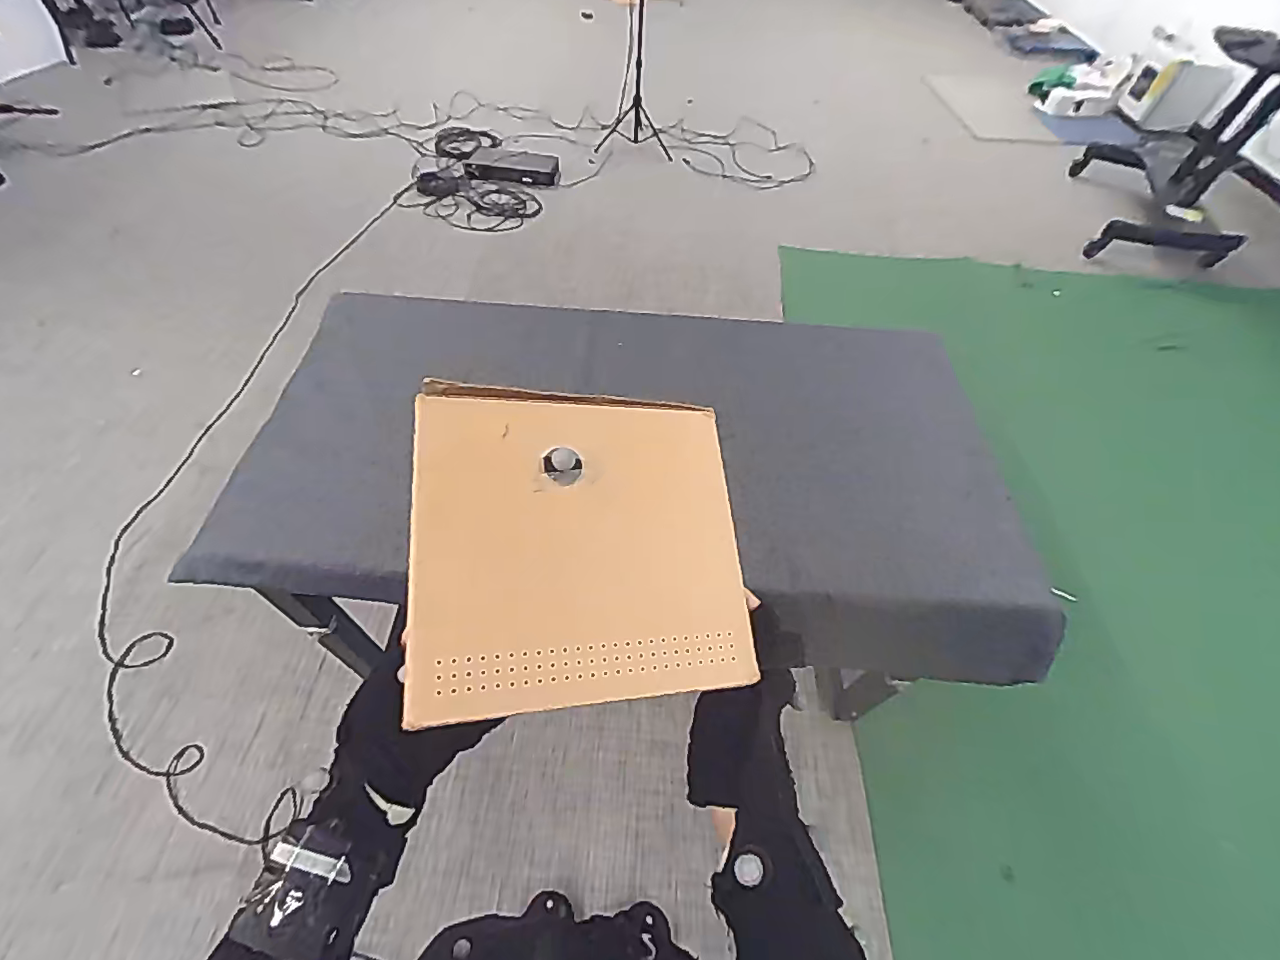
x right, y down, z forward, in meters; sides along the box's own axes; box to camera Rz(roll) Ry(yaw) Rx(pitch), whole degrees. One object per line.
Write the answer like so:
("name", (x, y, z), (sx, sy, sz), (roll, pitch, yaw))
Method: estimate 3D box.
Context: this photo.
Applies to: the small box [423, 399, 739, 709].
("small box", (-0.052, 0.060, 0.375), (0.179, 0.168, 0.176), (0, 69, -18))
